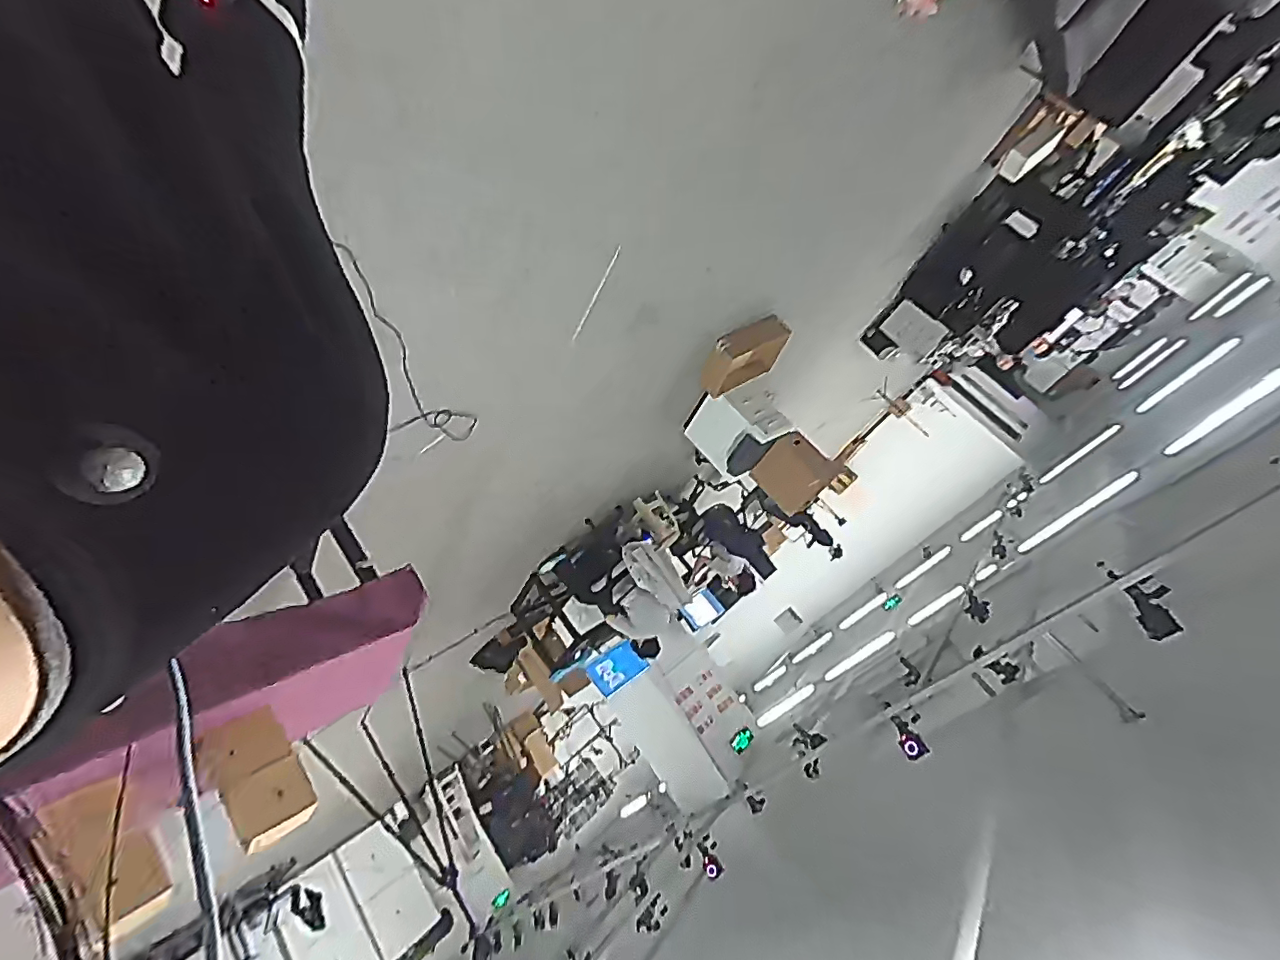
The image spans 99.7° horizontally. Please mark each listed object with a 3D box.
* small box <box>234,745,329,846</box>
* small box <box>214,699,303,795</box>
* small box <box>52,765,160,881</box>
[{"bbox_3d":[-1.062,0.926,1.600,0.179,0.176,0.168,-17,151,-51],"label":"small box"},{"bbox_3d":[-1.167,0.808,1.648,0.179,0.176,0.168,-18,152,-50],"label":"small box"},{"bbox_3d":[-1.370,0.870,1.389,0.168,0.176,0.179,-17,151,-52],"label":"small box"}]
